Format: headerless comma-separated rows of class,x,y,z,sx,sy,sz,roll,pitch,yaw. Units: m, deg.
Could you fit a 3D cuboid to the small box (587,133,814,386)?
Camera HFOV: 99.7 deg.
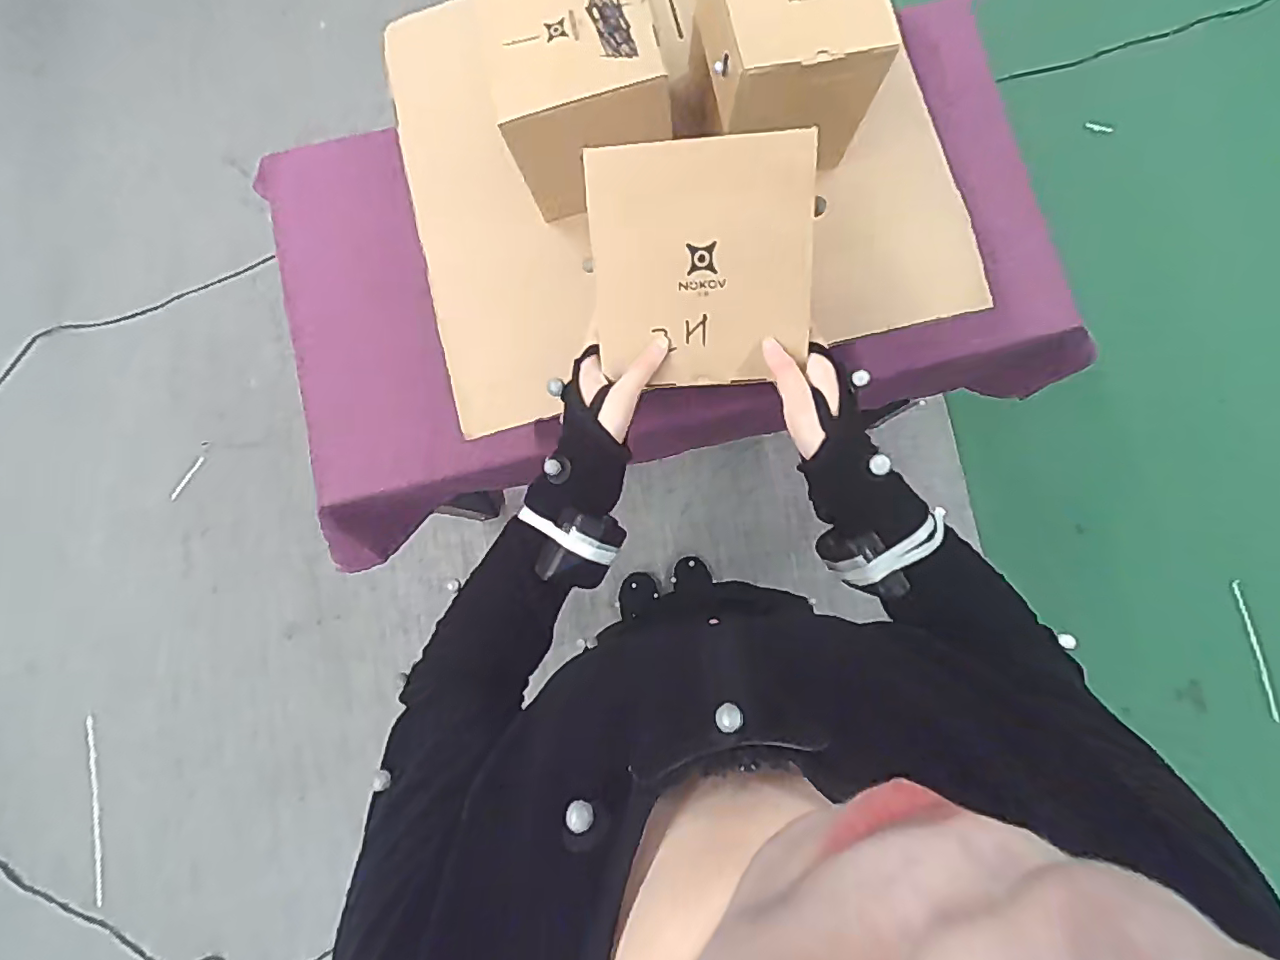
small box,0.051,-0.188,0.487,0.168,0.176,0.179,-1,111,6

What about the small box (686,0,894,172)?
small box,0.156,-0.484,0.627,0.168,0.176,0.179,-12,82,-3
